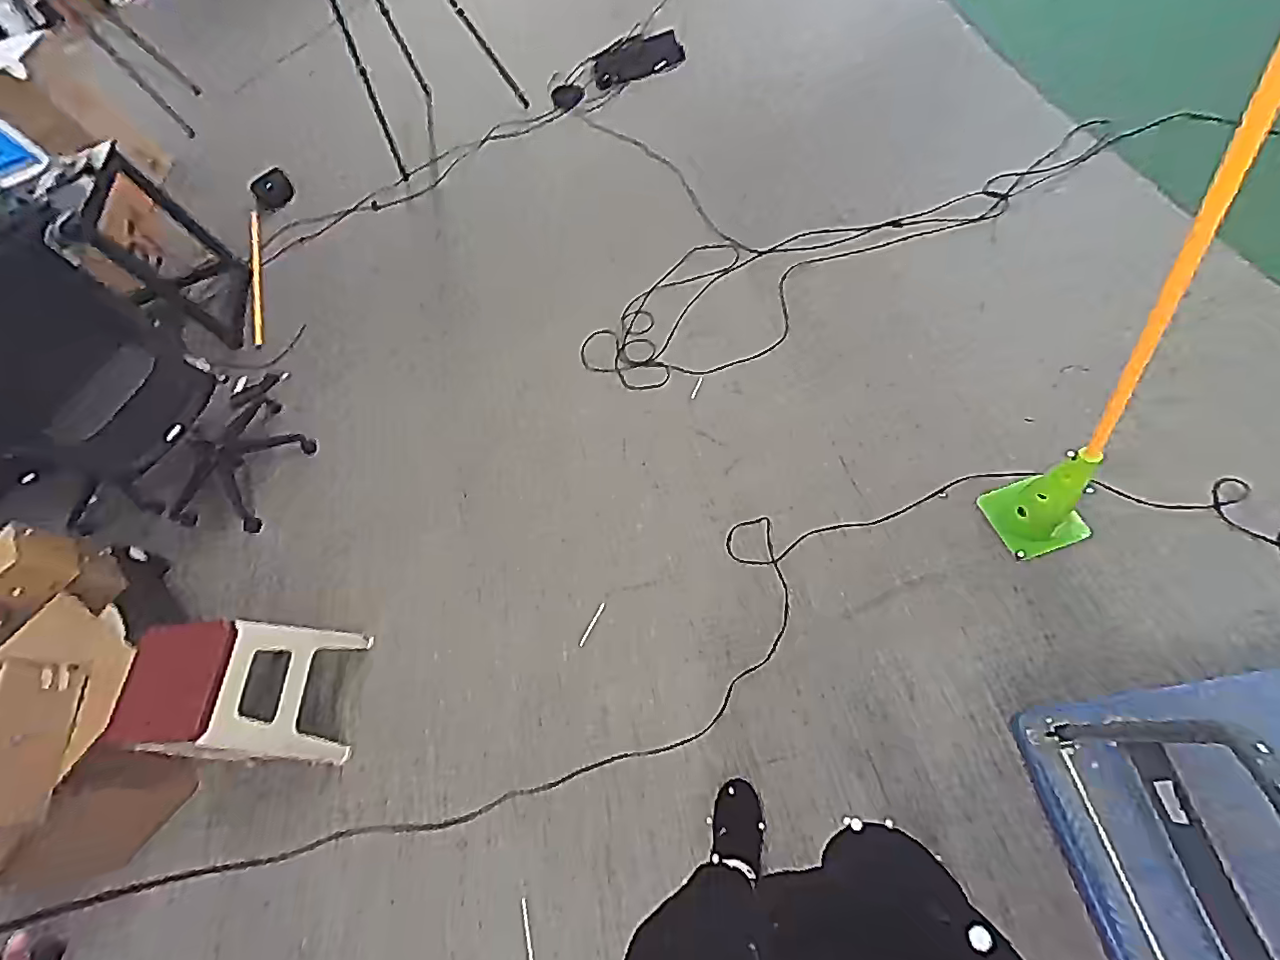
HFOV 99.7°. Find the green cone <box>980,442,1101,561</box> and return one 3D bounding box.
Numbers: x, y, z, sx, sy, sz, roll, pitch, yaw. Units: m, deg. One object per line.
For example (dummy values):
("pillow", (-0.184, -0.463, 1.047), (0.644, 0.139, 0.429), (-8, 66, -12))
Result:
("green cone", (1.004, 0.022, 1.290), (0.200, 0.368, 0.202), (-22, 58, 4))
